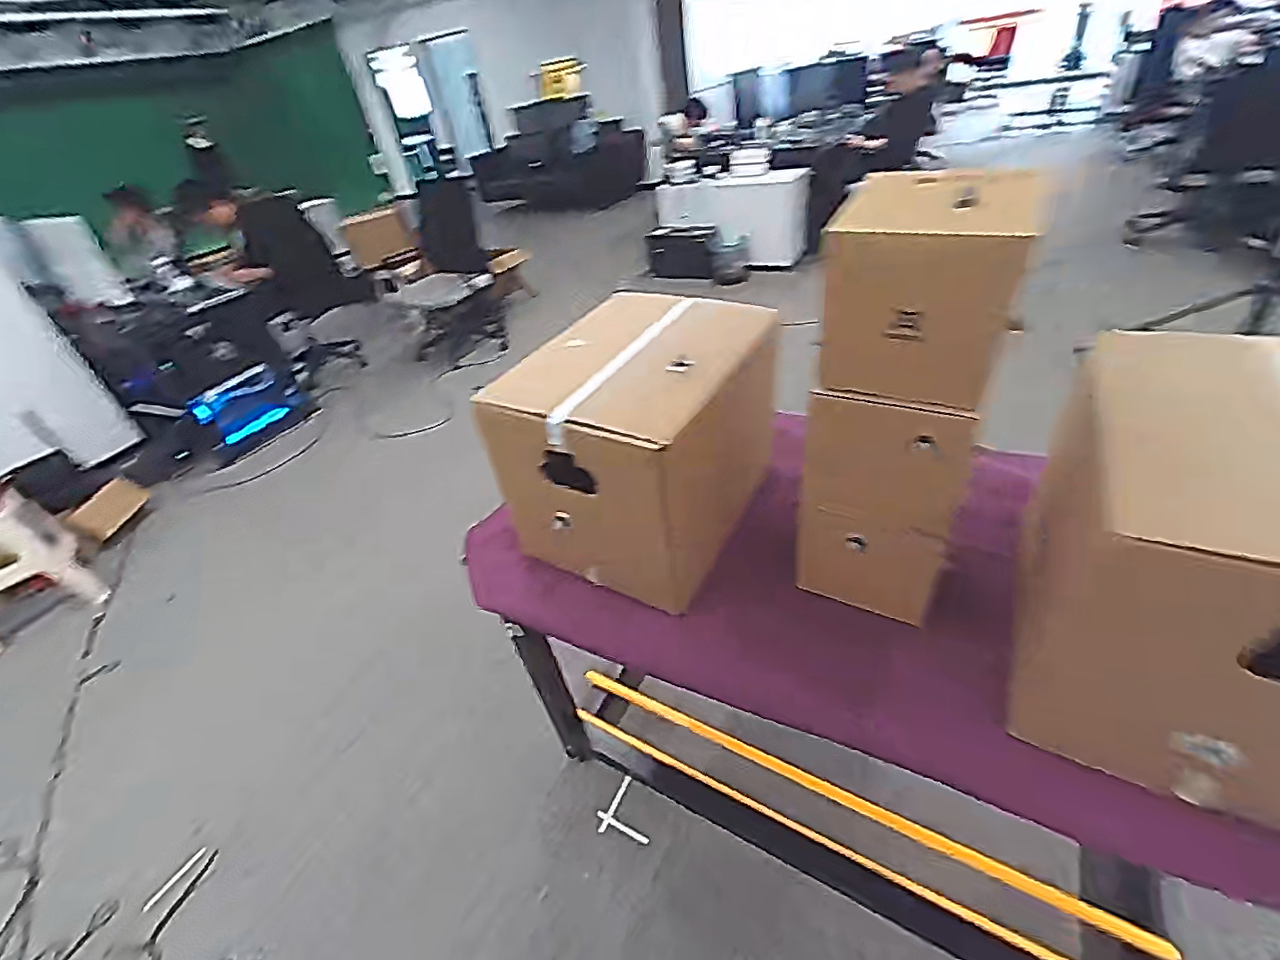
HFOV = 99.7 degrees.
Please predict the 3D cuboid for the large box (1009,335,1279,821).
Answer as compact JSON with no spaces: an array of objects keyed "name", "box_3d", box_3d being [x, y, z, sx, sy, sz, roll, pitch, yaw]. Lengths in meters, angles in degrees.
[{"name":"large box","box_3d":[0.610,0.076,0.575,0.320,0.320,0.408,13,42,27]}]
